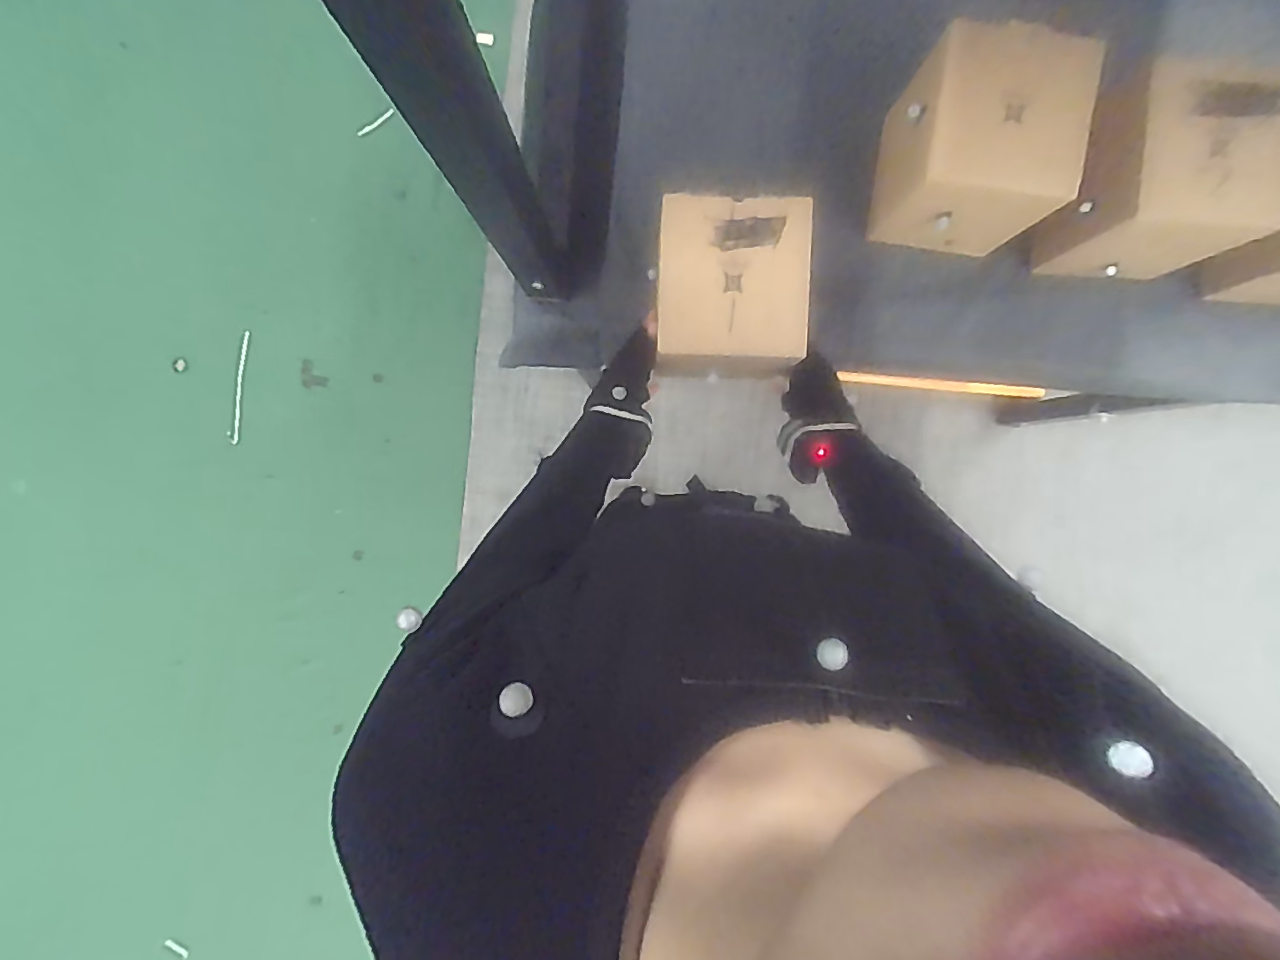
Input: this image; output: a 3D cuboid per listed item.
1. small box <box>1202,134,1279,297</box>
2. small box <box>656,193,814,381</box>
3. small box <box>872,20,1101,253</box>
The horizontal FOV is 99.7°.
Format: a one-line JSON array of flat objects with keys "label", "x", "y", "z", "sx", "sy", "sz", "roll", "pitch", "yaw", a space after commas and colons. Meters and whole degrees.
[{"label": "small box", "x": 0.849, "y": -0.330, "z": 0.656, "sx": 0.168, "sy": 0.176, "sz": 0.179, "roll": 4, "pitch": 90, "yaw": 1}, {"label": "small box", "x": 0.107, "y": -0.226, "z": 0.673, "sx": 0.168, "sy": 0.176, "sz": 0.179, "roll": 2, "pitch": 93, "yaw": 1}, {"label": "small box", "x": 0.407, "y": -0.404, "z": 0.668, "sx": 0.168, "sy": 0.176, "sz": 0.179, "roll": 9, "pitch": 91, "yaw": 1}]
